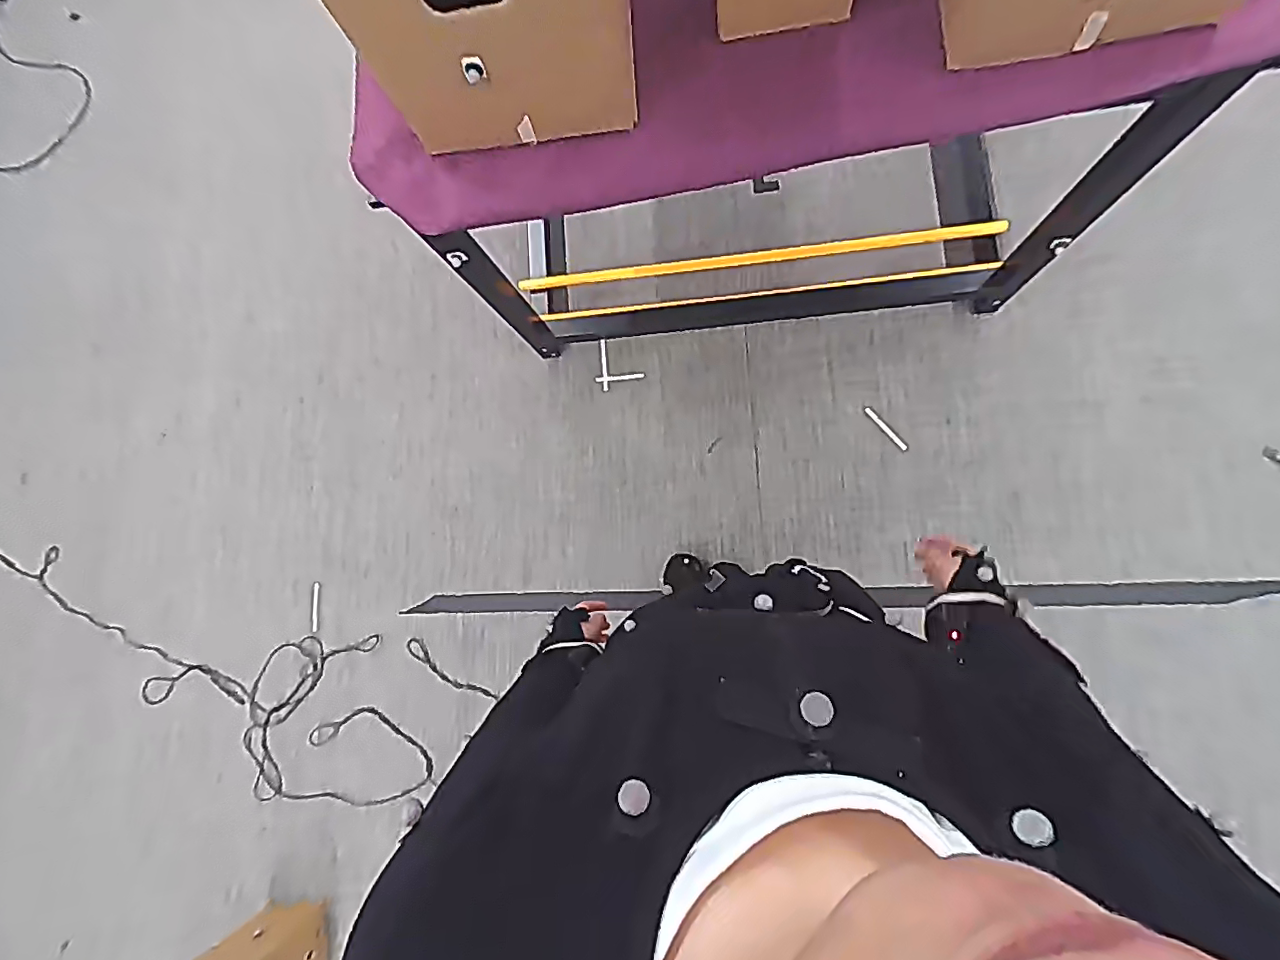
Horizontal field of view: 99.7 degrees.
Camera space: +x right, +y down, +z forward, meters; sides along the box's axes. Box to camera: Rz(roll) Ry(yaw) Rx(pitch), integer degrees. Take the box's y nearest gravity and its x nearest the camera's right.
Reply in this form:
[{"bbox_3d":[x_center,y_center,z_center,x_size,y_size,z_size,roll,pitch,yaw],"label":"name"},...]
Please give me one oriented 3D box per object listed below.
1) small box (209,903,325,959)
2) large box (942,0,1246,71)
[{"bbox_3d":[-0.928,1.205,1.355,0.179,0.176,0.168,-10,82,7],"label":"small box"},{"bbox_3d":[0.509,-0.740,0.546,0.320,0.320,0.408,-4,81,8],"label":"large box"}]
